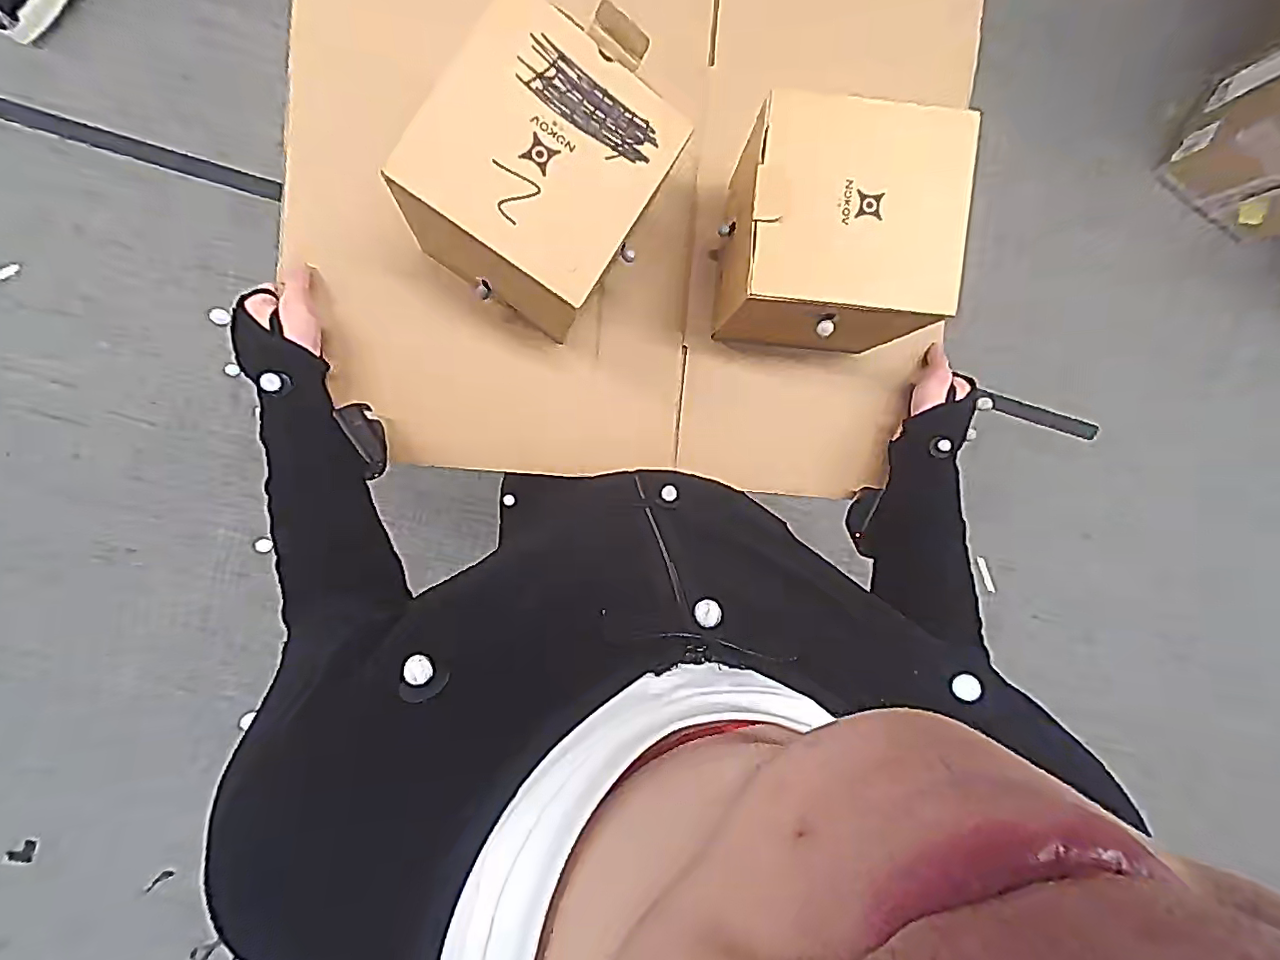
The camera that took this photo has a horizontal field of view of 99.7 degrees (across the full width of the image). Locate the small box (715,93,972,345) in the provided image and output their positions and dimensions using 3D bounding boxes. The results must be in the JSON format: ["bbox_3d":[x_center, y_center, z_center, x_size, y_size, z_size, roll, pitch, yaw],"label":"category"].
[{"bbox_3d":[0.182,-0.235,0.533,0.179,0.176,0.168,5,93,-2],"label":"small box"}]
